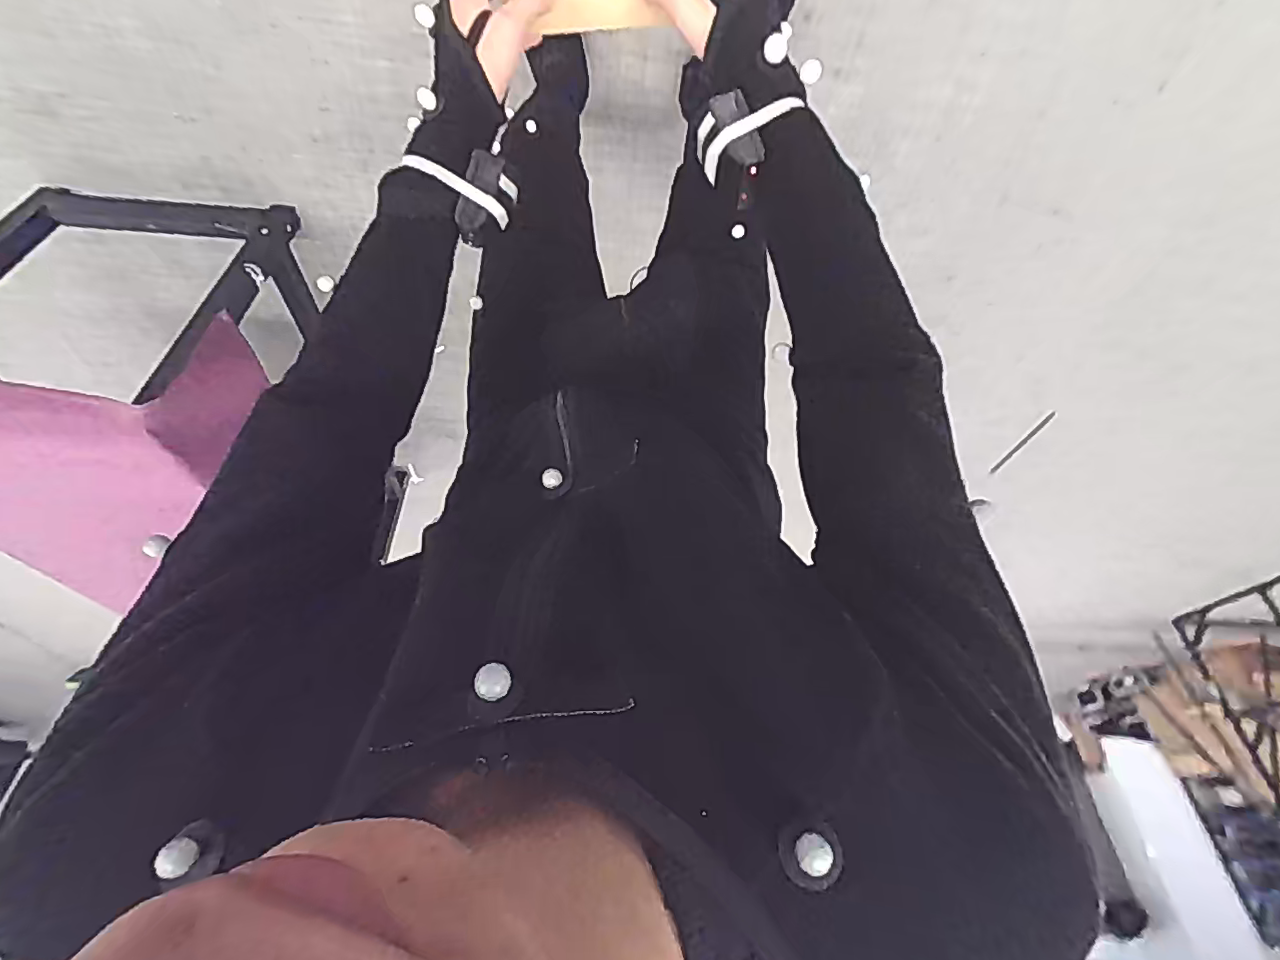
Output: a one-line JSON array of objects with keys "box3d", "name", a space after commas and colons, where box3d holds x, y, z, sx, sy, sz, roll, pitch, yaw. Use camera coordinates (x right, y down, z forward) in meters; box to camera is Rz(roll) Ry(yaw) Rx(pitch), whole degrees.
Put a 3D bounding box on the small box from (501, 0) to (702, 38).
[{"box3d": [-0.035, -0.487, 0.421, 0.168, 0.176, 0.179, -3, 147, 2], "name": "small box"}]
